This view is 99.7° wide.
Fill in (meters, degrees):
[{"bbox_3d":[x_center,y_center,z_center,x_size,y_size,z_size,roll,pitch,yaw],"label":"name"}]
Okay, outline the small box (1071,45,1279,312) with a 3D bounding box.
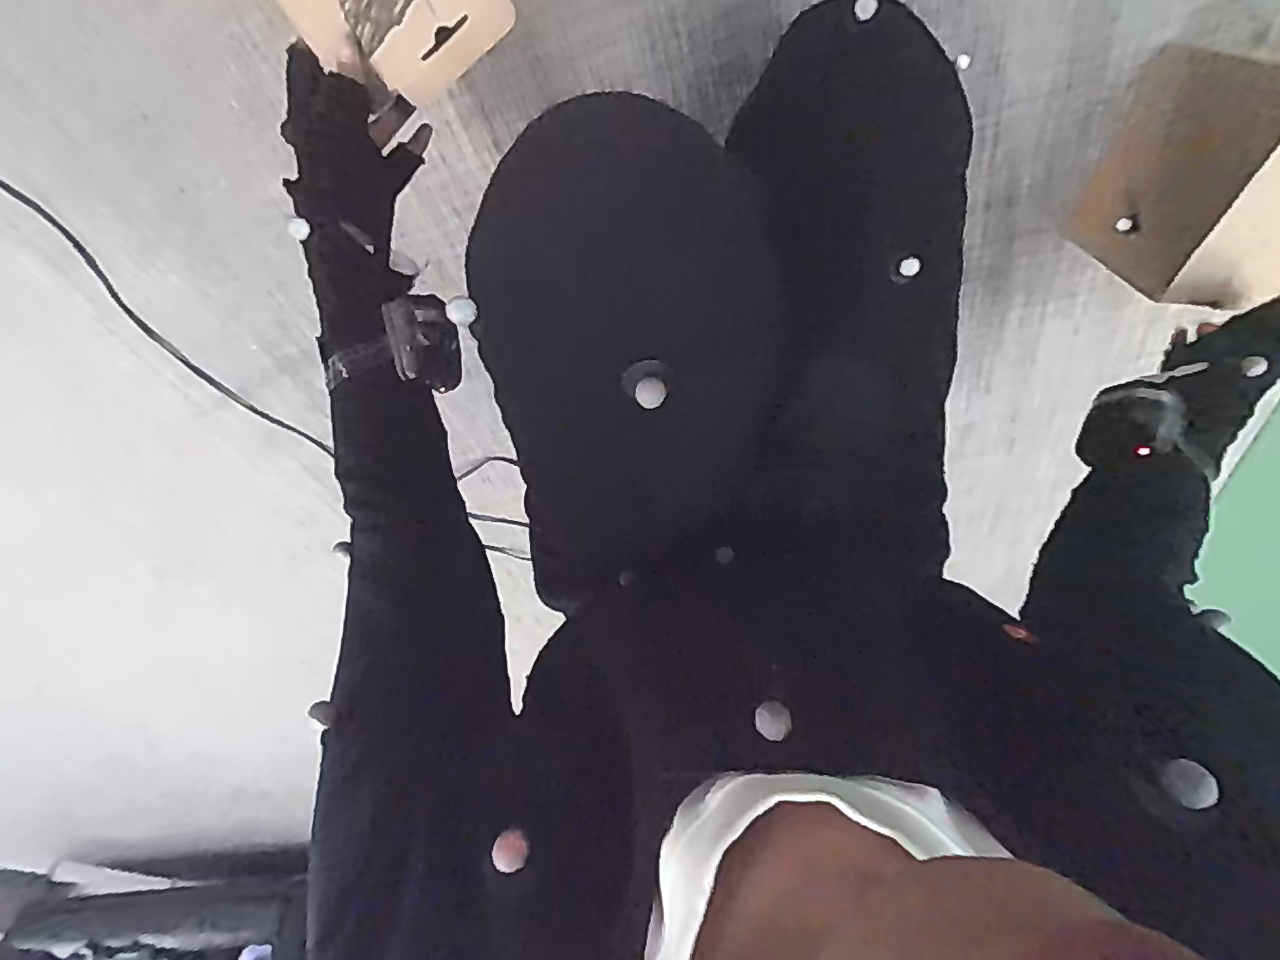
[{"bbox_3d":[0.554,-0.275,0.499,0.168,0.176,0.179,0,136,-1],"label":"small box"}]
